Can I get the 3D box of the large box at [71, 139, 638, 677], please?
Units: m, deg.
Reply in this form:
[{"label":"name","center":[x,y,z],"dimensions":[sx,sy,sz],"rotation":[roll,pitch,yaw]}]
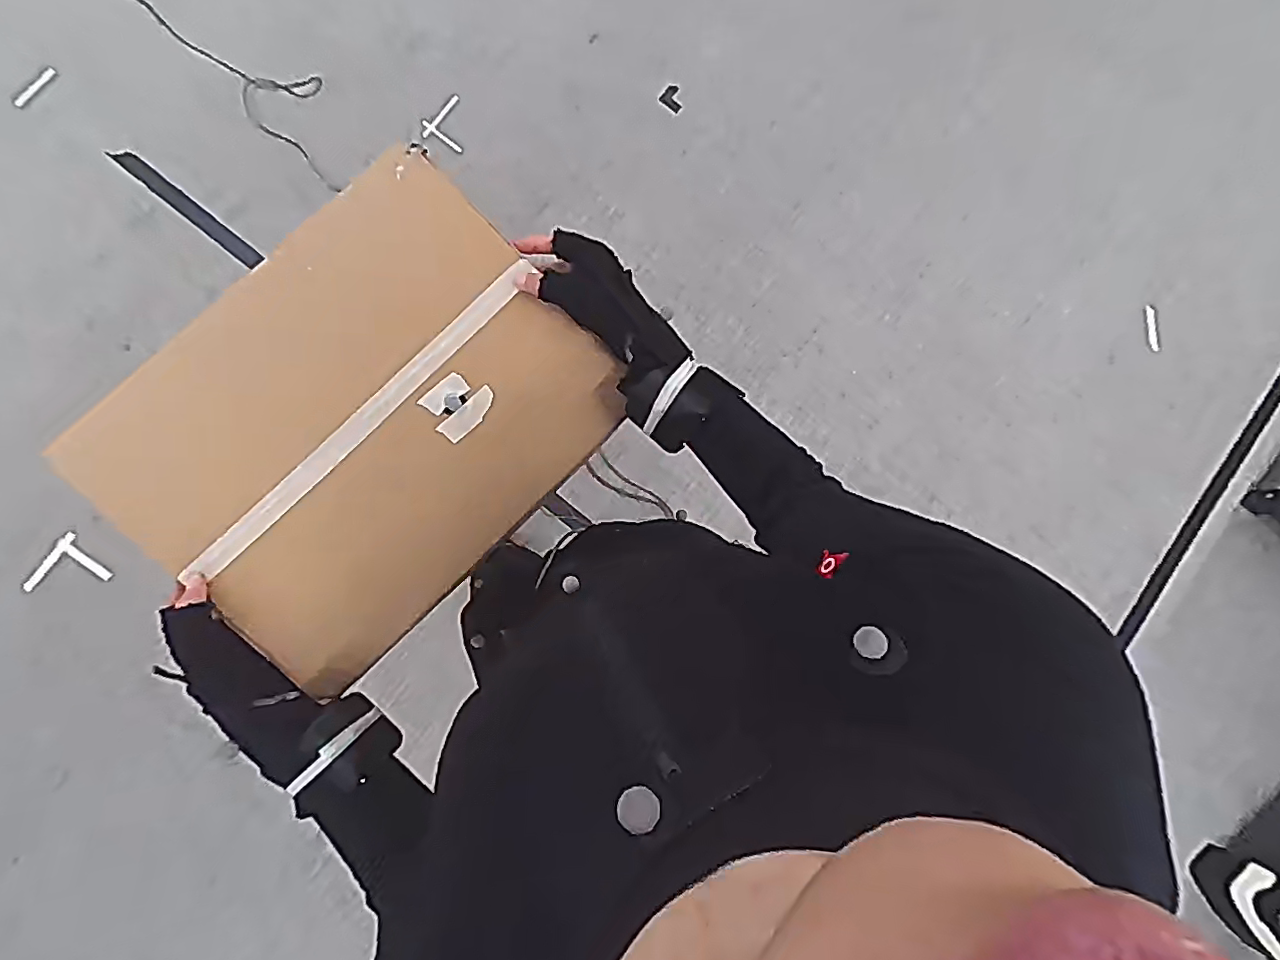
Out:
[{"label":"large box","center":[-0.262,-0.065,0.635],"dimensions":[0.408,0.320,0.320],"rotation":[-45,96,-6]}]
